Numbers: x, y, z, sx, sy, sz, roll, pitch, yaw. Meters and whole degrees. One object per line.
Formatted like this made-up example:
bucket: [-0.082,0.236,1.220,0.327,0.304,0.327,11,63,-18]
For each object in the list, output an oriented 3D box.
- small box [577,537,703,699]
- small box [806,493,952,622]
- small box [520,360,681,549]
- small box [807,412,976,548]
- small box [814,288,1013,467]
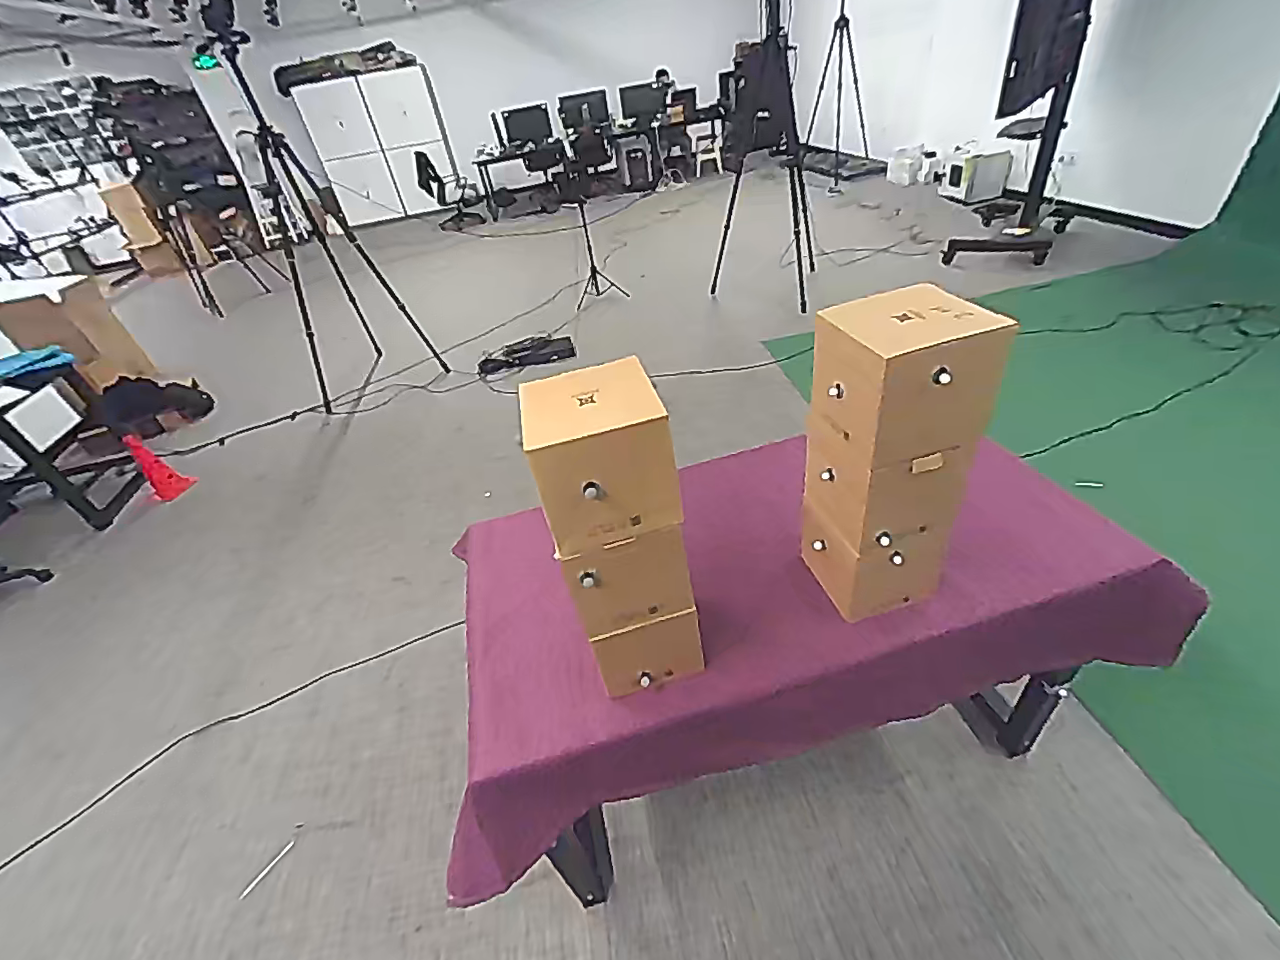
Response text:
small box: [0.000,0.229,0.903,0.168,0.176,0.179,-15,39,-4]
small box: [0.402,0.114,0.945,0.168,0.176,0.179,-16,37,-5]
small box: [-0.051,-0.029,0.707,0.168,0.176,0.179,-15,36,-4]
small box: [0.378,-0.014,0.846,0.168,0.176,0.179,-16,37,-6]
small box: [0.355,-0.140,0.741,0.179,0.176,0.168,-15,39,-5]
